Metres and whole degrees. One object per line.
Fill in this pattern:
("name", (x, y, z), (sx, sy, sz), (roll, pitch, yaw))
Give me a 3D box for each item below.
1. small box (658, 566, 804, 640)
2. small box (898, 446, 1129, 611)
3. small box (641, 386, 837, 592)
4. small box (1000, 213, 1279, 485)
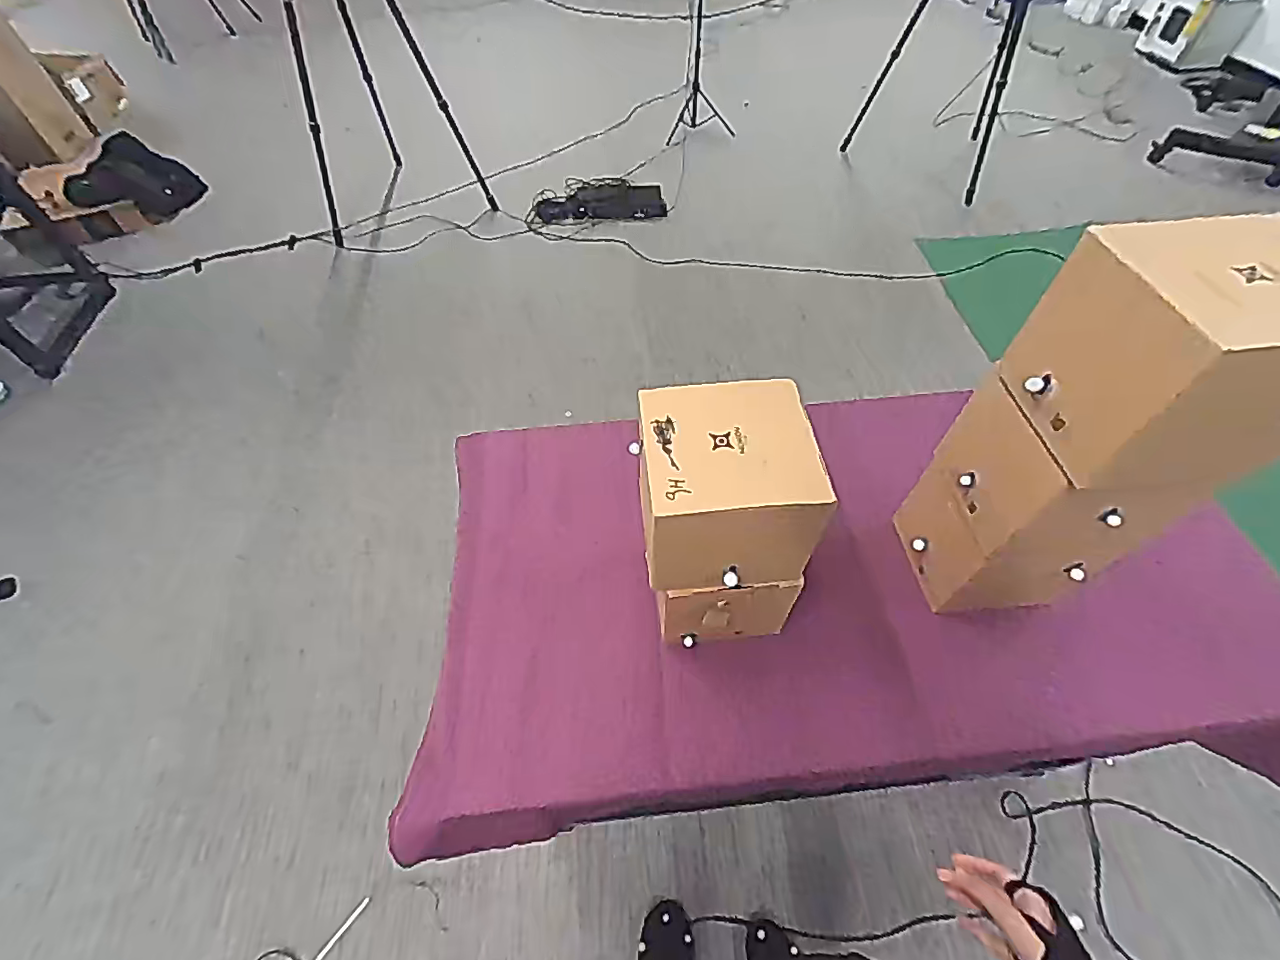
("small box", (0.108, 0.109, 0.743), (0.168, 0.176, 0.179), (-5, 53, -3))
("small box", (0.499, 0.071, 0.757), (0.179, 0.176, 0.168), (-5, 53, -2))
("small box", (0.093, 0.014, 0.609), (0.179, 0.176, 0.168), (-4, 53, -2))
("small box", (0.478, -0.111, 0.484), (0.179, 0.176, 0.168), (-5, 53, -1))
